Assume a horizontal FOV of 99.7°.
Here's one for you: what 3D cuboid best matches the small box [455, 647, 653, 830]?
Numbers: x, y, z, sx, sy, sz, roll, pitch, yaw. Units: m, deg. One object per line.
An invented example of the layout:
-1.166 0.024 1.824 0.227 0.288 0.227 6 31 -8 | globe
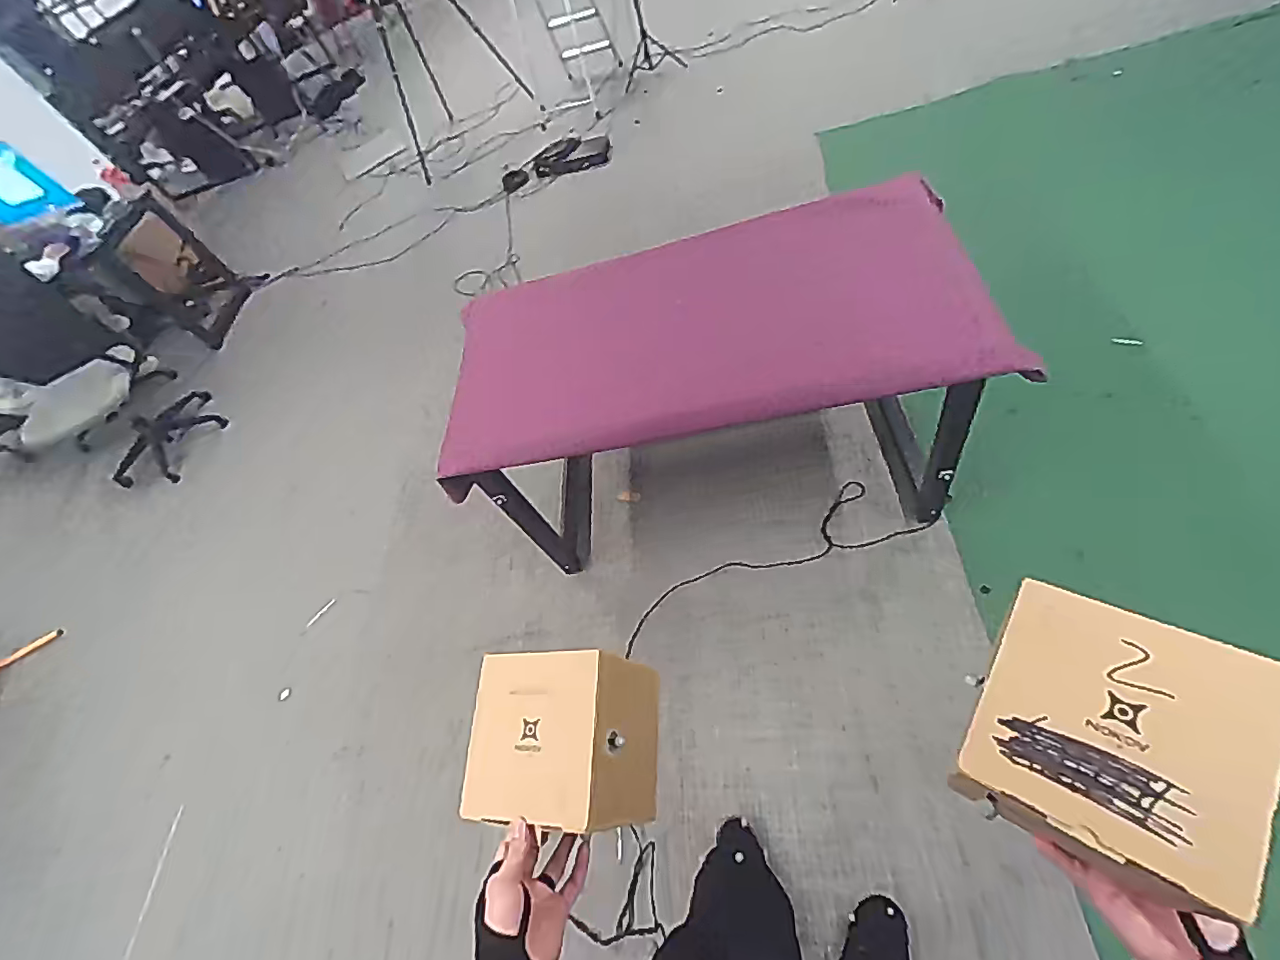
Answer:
-0.092 0.308 0.657 0.168 0.176 0.179 -10 60 24 | small box
